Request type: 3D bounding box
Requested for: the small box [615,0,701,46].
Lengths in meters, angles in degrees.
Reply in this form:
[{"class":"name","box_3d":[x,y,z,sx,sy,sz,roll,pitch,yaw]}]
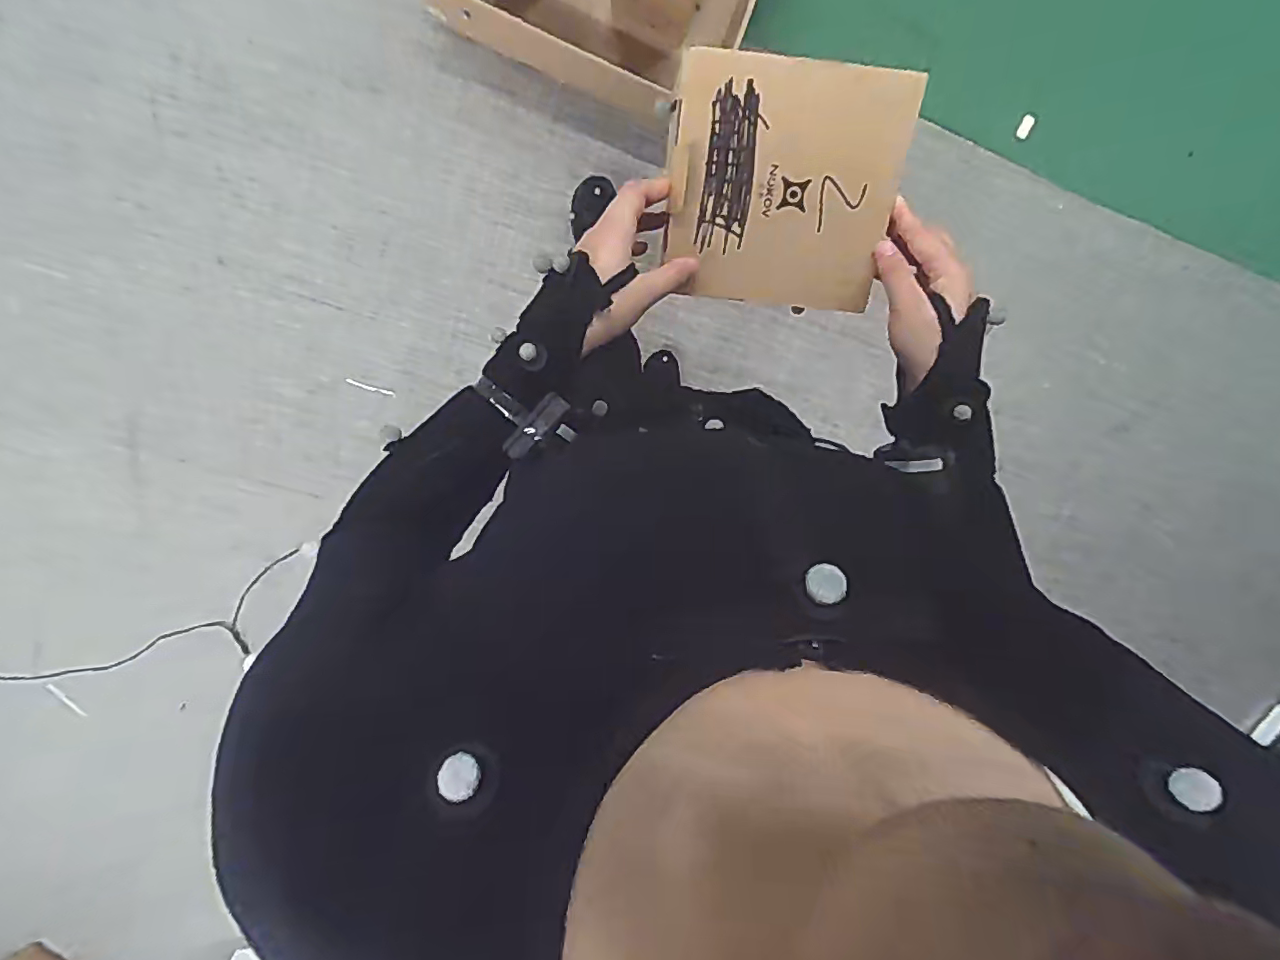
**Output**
[{"class":"small box","box_3d":[0.055,-0.977,1.014,0.168,0.176,0.179,22,107,-10]}]
